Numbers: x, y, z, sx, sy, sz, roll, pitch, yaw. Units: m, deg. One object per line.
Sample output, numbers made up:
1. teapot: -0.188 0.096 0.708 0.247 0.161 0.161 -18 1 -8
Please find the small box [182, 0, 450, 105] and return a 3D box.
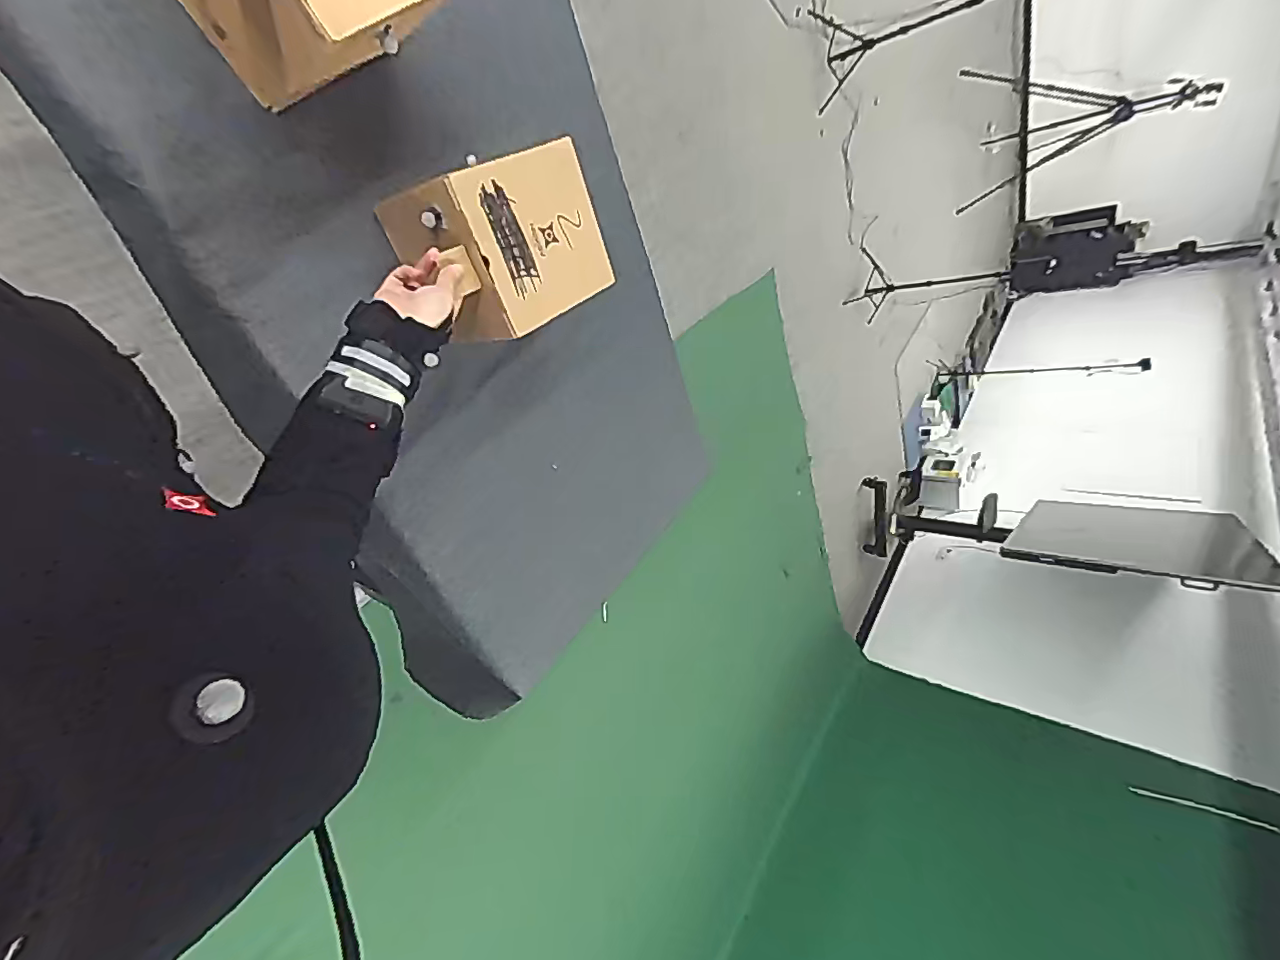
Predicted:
1. small box: -0.298 -0.473 0.474 0.179 0.176 0.168 -56 134 -27
